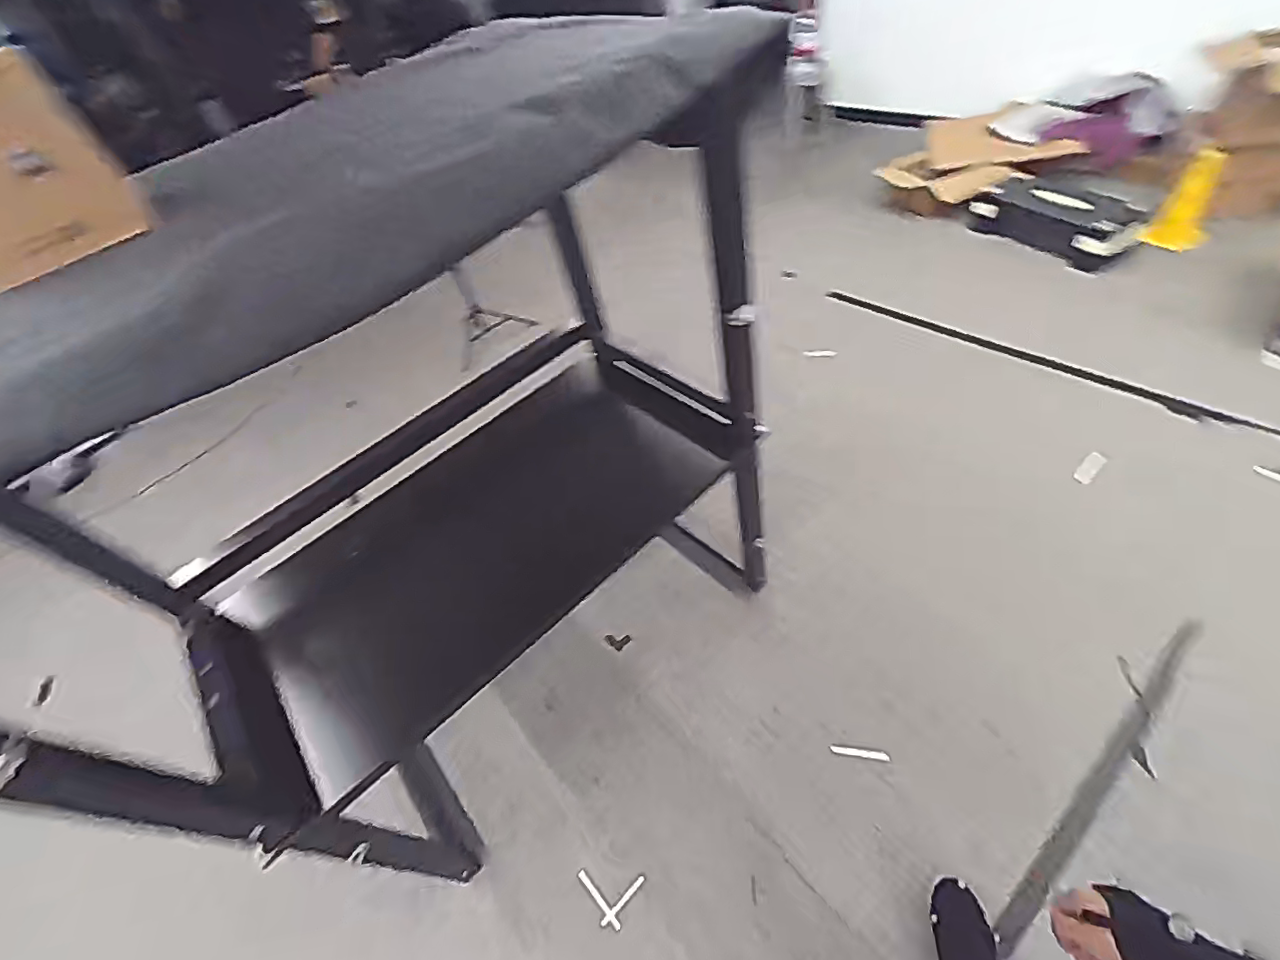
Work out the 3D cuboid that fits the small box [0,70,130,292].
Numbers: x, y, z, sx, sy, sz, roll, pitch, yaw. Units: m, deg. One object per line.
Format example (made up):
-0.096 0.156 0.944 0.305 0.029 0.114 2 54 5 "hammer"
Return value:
-0.688 -0.312 0.564 0.168 0.176 0.179 -38 52 -18 "small box"
